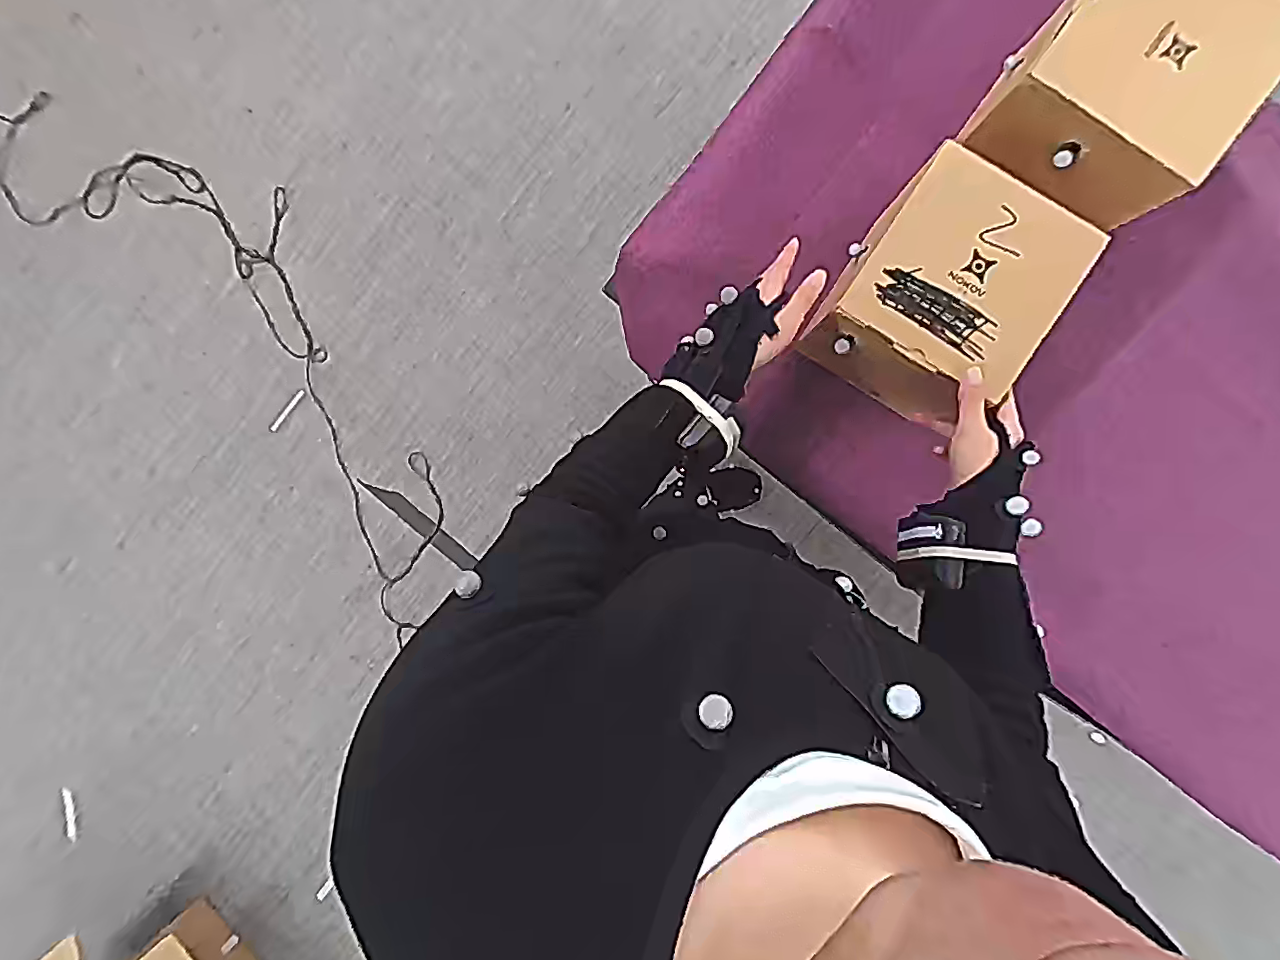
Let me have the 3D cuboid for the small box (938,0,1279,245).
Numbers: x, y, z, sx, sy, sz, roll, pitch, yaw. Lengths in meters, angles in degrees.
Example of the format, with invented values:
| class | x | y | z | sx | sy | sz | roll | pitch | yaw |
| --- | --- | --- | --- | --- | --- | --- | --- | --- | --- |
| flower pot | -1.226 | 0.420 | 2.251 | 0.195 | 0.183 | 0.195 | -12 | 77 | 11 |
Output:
| class | x | y | z | sx | sy | sz | roll | pitch | yaw |
| --- | --- | --- | --- | --- | --- | --- | --- | --- | --- |
| small box | 0.450 | -0.365 | 0.539 | 0.179 | 0.176 | 0.168 | 36 | 94 | 1 |
